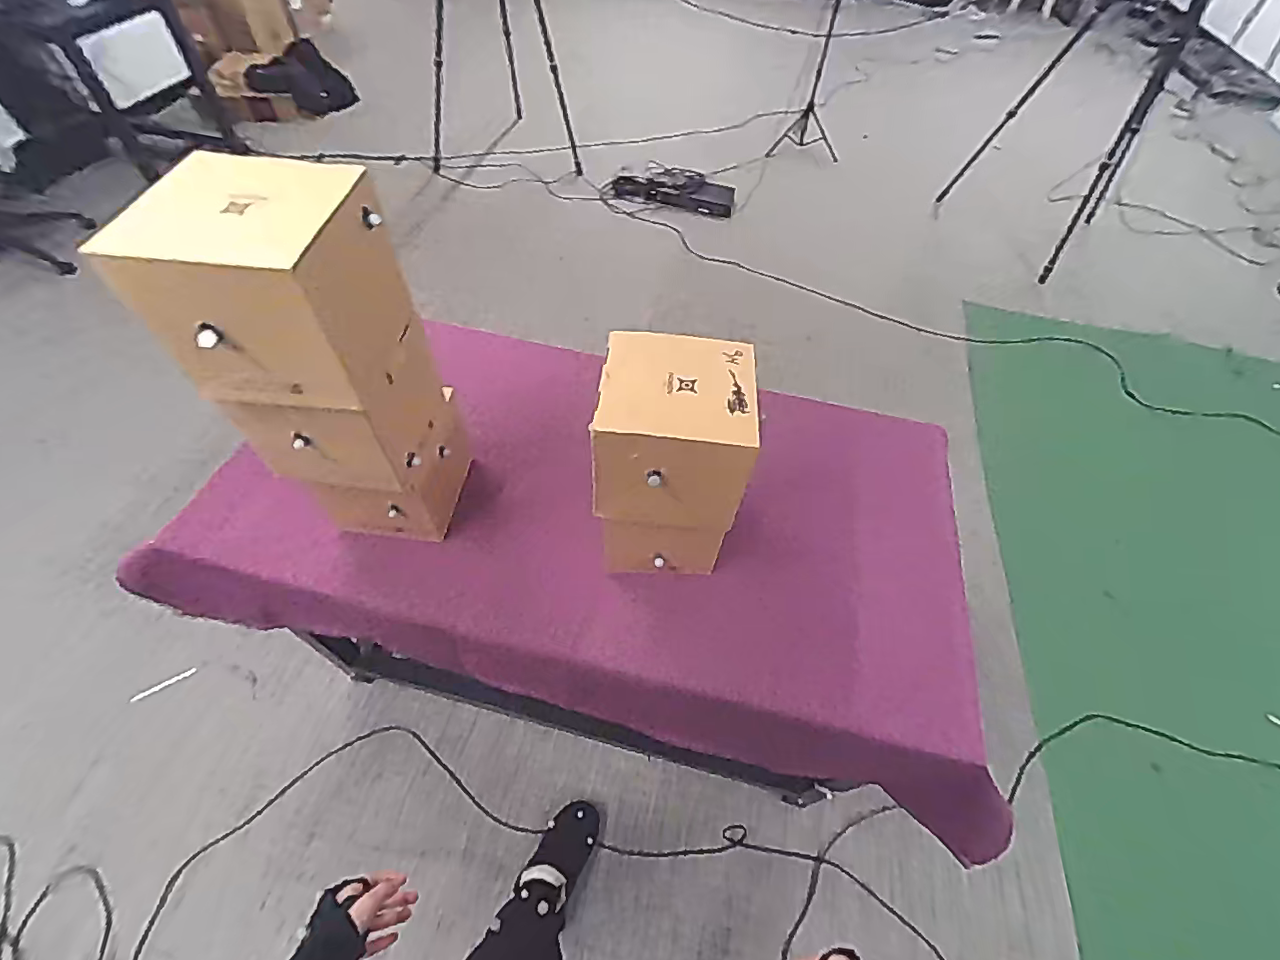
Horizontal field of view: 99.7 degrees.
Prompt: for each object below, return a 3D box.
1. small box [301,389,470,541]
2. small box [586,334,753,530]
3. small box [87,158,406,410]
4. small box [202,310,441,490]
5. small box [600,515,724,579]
[{"bbox_3d":[-0.374,-0.027,0.825,0.168,0.176,0.179,8,53,1],"label":"small box"},{"bbox_3d":[0.035,-0.054,0.663,0.179,0.176,0.168,6,54,1],"label":"small box"},{"bbox_3d":[-0.357,-0.189,0.540,0.168,0.176,0.179,5,53,-1],"label":"small box"},{"bbox_3d":[-0.373,-0.104,0.678,0.179,0.176,0.168,7,54,1],"label":"small box"},{"bbox_3d":[0.027,0.028,0.807,0.168,0.176,0.179,3,53,-1],"label":"small box"}]
